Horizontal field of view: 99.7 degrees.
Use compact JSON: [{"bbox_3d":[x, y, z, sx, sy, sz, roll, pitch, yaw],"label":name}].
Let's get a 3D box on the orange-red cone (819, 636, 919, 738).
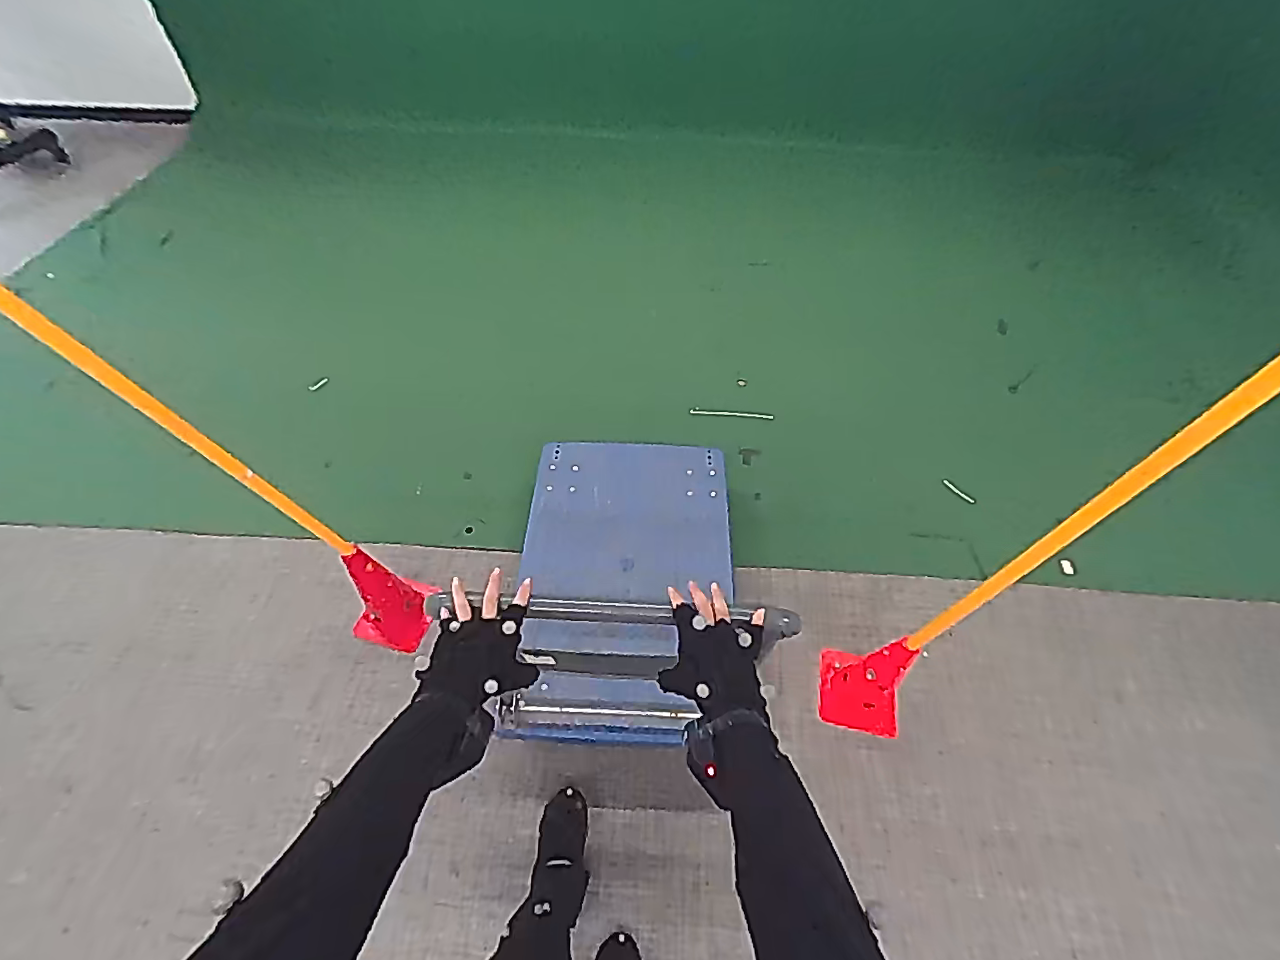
[{"bbox_3d":[0.583,0.461,1.302,0.198,0.360,0.199,12,54,9],"label":"orange-red cone"}]
